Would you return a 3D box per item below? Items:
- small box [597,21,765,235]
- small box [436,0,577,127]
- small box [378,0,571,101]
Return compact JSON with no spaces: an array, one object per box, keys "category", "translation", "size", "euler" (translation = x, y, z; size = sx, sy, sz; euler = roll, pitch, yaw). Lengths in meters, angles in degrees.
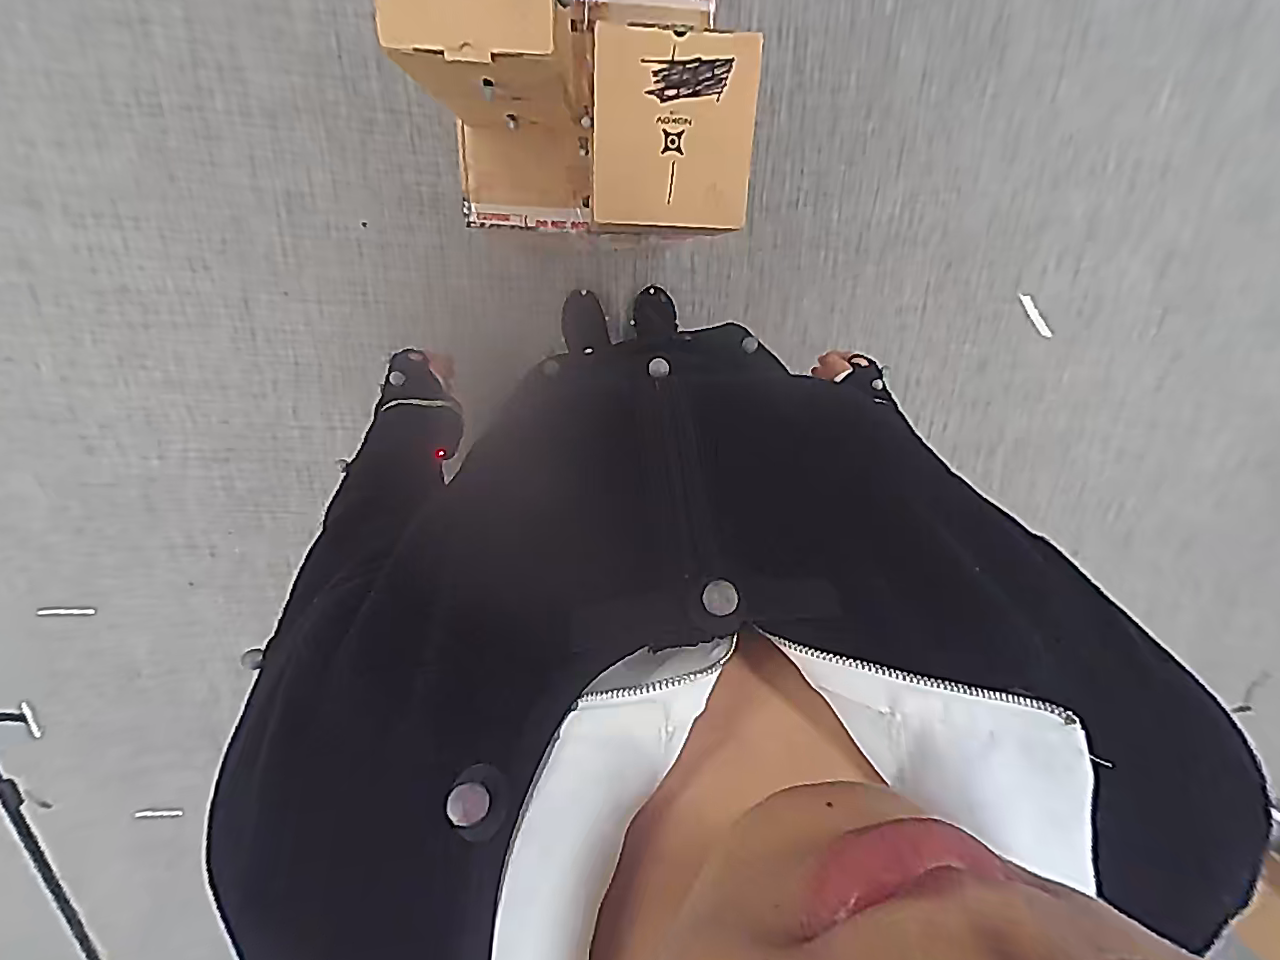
[{"category":"small box","translation":[0.034,-0.387,0.626],"size":[0.168,0.176,0.179],"euler":[1,113,-3]},{"category":"small box","translation":[-0.173,-0.586,0.710],"size":[0.168,0.176,0.179],"euler":[-1,112,-1]},{"category":"small box","translation":[-0.162,-0.516,0.561],"size":[0.168,0.176,0.179],"euler":[1,113,-2]}]
